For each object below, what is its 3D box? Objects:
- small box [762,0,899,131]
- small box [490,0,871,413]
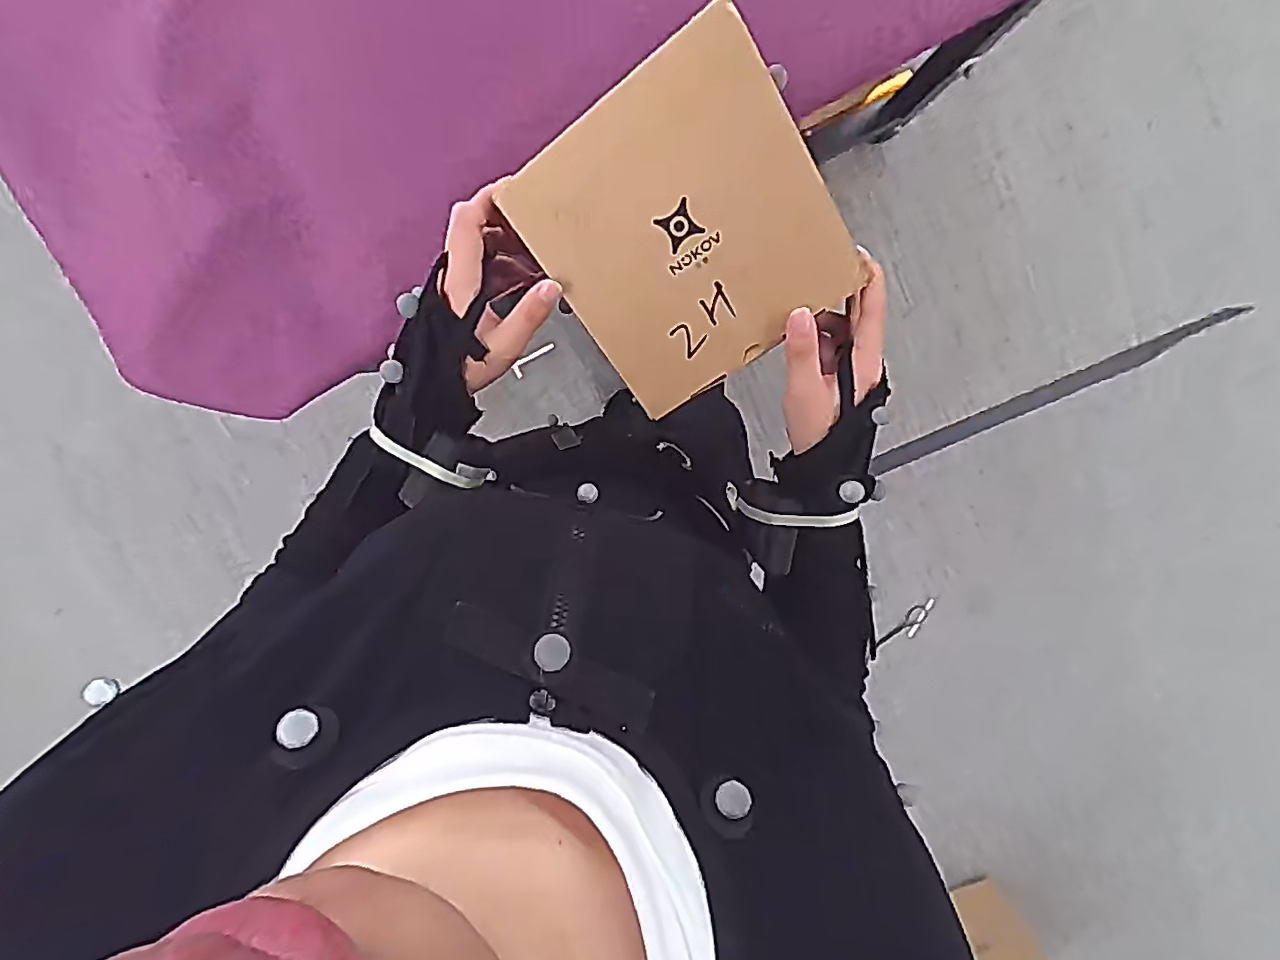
[{"bbox_3d":[0.333,-0.766,0.979,0.168,0.176,0.179,-24,101,7],"label":"small box"},{"bbox_3d":[0.028,-0.182,0.390,0.168,0.176,0.179,-31,111,17],"label":"small box"}]
